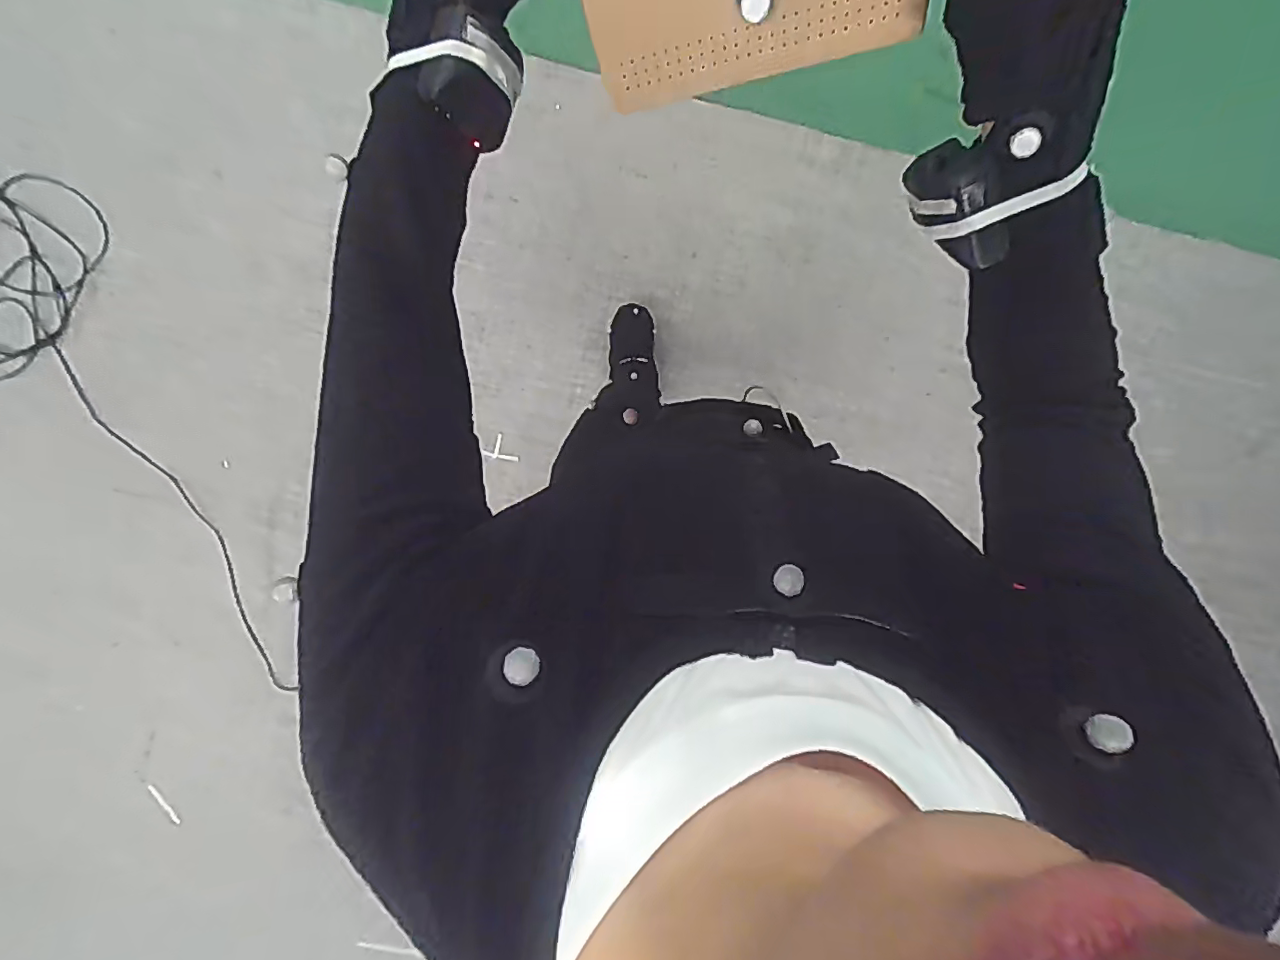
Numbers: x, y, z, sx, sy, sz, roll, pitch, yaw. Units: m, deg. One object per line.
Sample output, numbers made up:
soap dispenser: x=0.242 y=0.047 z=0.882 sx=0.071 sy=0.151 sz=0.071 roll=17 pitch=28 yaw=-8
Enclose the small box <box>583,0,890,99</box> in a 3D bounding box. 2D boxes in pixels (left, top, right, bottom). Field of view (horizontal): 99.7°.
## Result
small box: x=0.048 y=-0.347 z=0.284 sx=0.179 sy=0.176 sz=0.168 roll=-6 pitch=62 yaw=14
